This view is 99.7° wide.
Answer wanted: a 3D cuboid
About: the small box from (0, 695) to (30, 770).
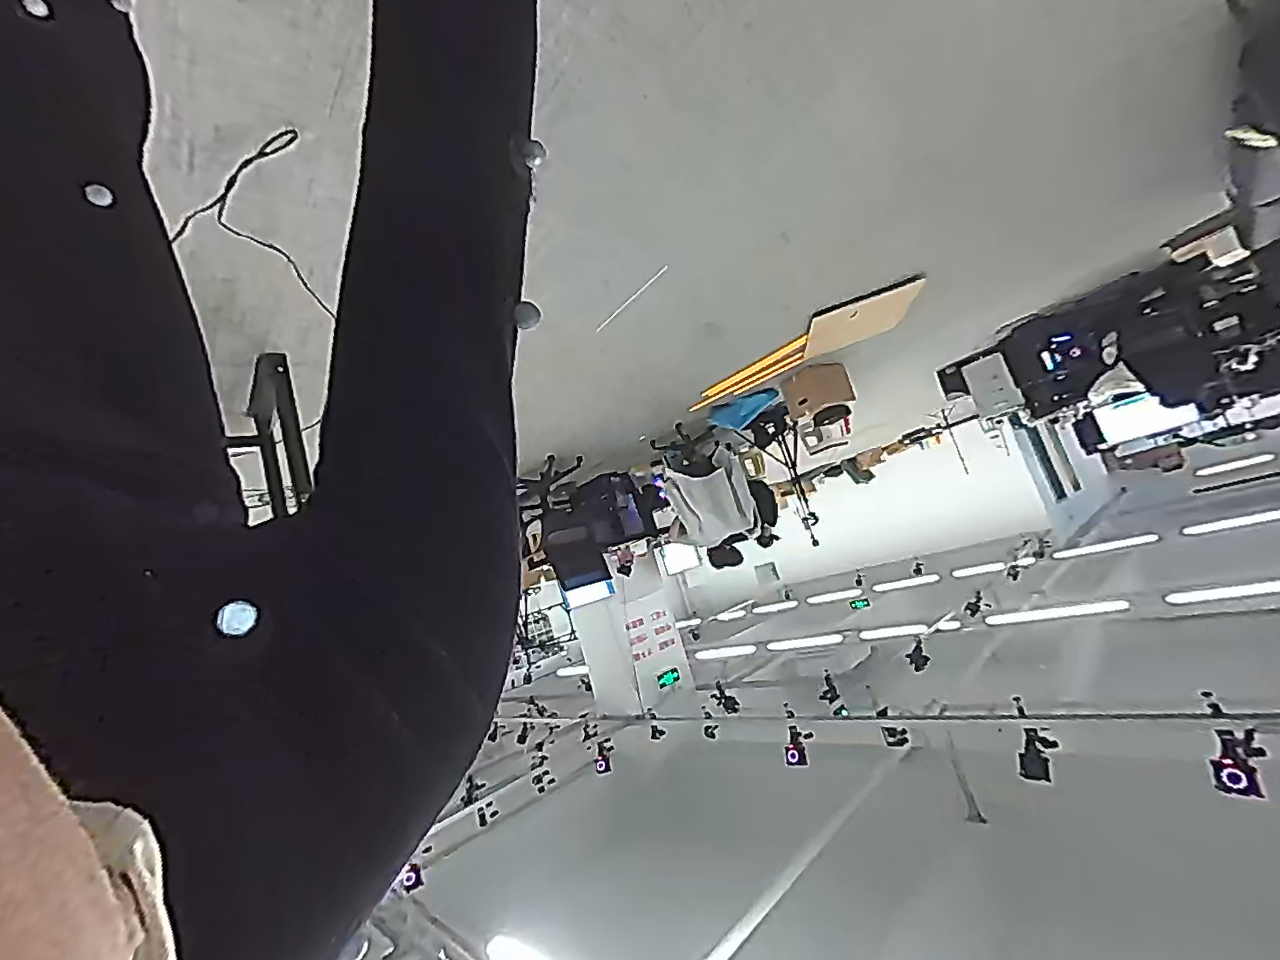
[{"bbox_3d":[-1.627,0.635,1.313,0.168,0.176,0.179,-8,166,-42],"label":"small box"}]
